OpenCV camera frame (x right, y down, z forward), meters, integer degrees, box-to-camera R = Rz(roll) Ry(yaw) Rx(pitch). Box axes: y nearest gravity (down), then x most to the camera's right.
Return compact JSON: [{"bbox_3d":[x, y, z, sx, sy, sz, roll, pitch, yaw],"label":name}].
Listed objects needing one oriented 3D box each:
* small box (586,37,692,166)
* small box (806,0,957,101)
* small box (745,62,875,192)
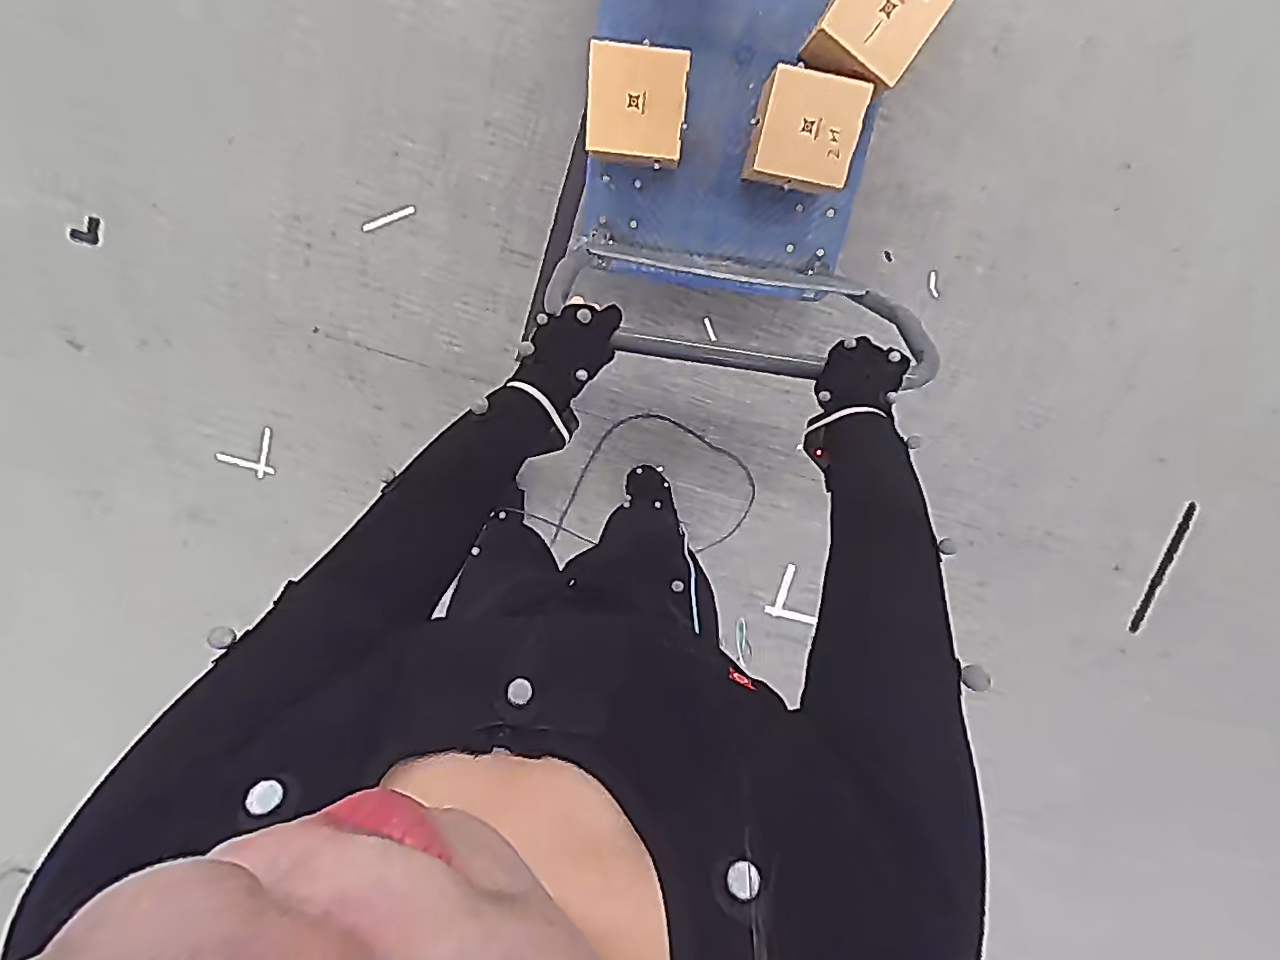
[{"bbox_3d":[-0.002,-0.708,1.031,0.179,0.176,0.168,6,115,-2],"label":"small box"},{"bbox_3d":[0.423,-0.818,0.960,0.168,0.176,0.179,32,113,-11],"label":"small box"},{"bbox_3d":[0.311,-0.662,1.036,0.179,0.176,0.168,12,115,-2],"label":"small box"}]
